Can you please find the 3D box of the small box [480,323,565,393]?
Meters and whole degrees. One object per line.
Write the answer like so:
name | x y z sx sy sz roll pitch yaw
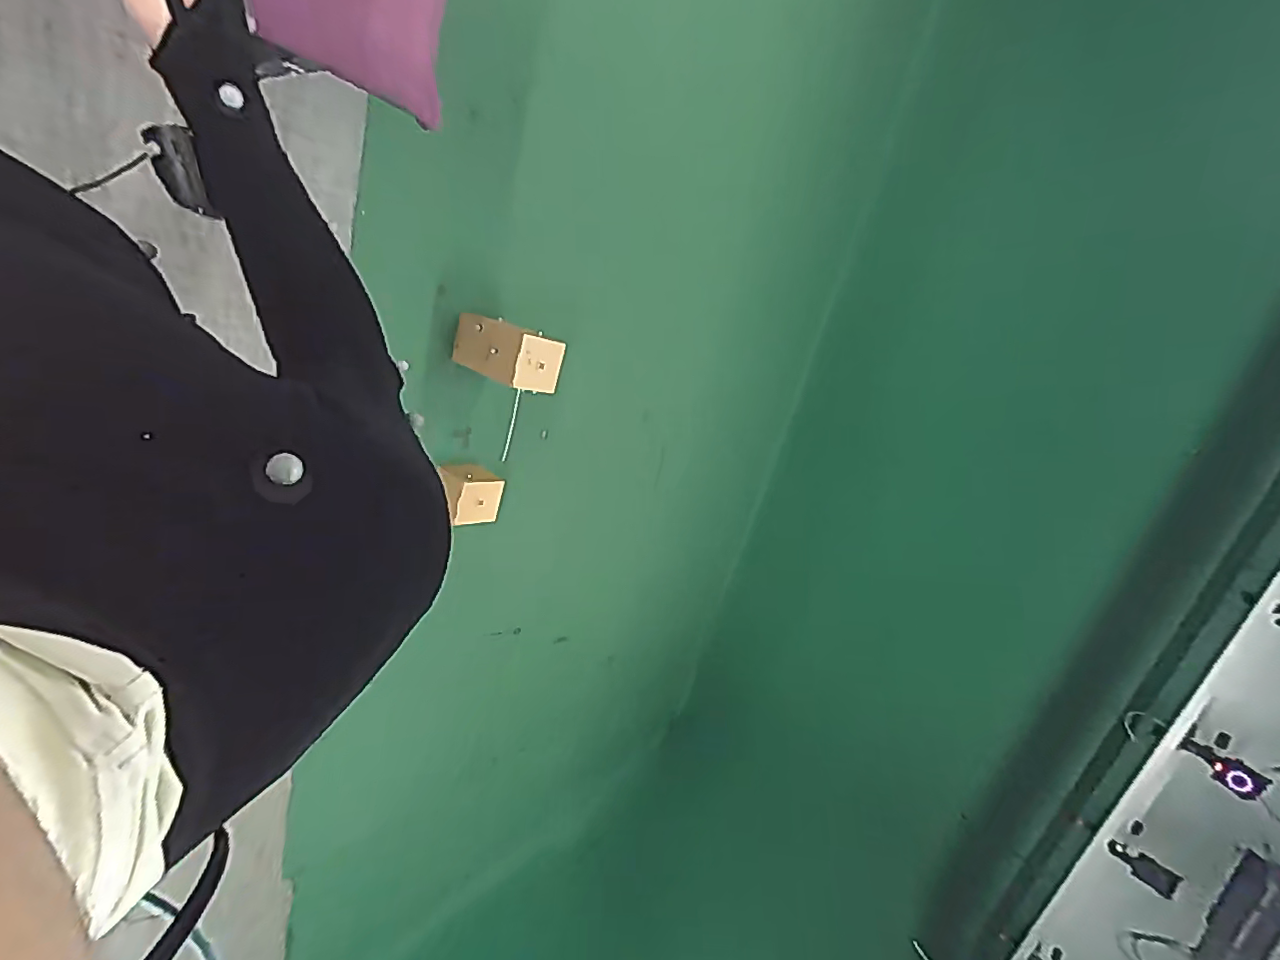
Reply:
small box | -0.374 -0.388 1.712 0.179 0.176 0.168 -2 113 -53

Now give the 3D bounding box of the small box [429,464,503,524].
small box | -0.635 0.045 1.966 0.179 0.176 0.168 -3 115 -51
